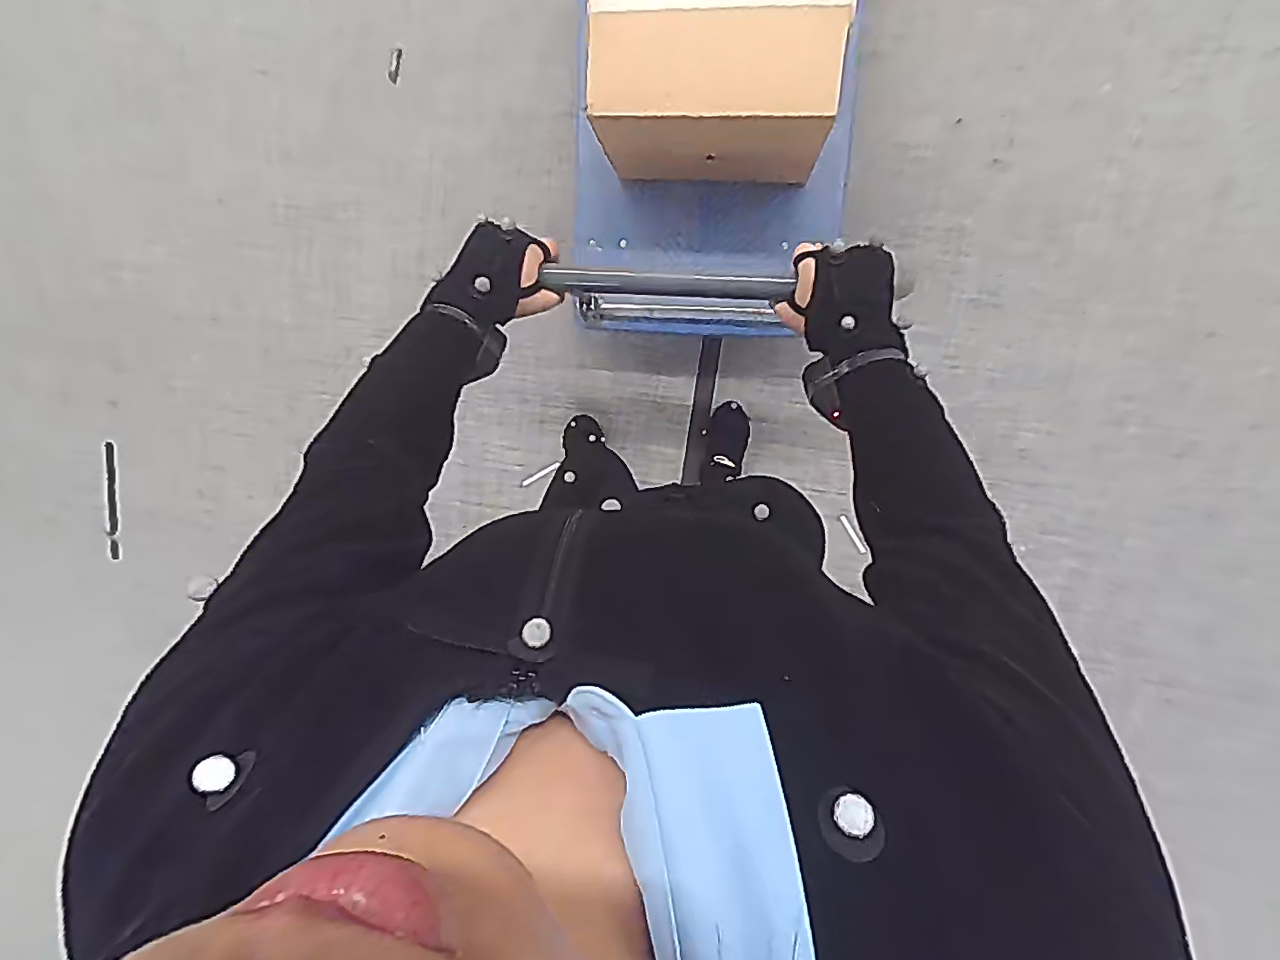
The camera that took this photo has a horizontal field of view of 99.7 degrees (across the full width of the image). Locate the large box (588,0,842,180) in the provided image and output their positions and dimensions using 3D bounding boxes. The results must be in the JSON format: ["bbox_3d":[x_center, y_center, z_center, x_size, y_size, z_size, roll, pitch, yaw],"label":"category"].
[{"bbox_3d":[0.140,-0.772,1.004,0.408,0.320,0.320,5,101,8],"label":"large box"}]
